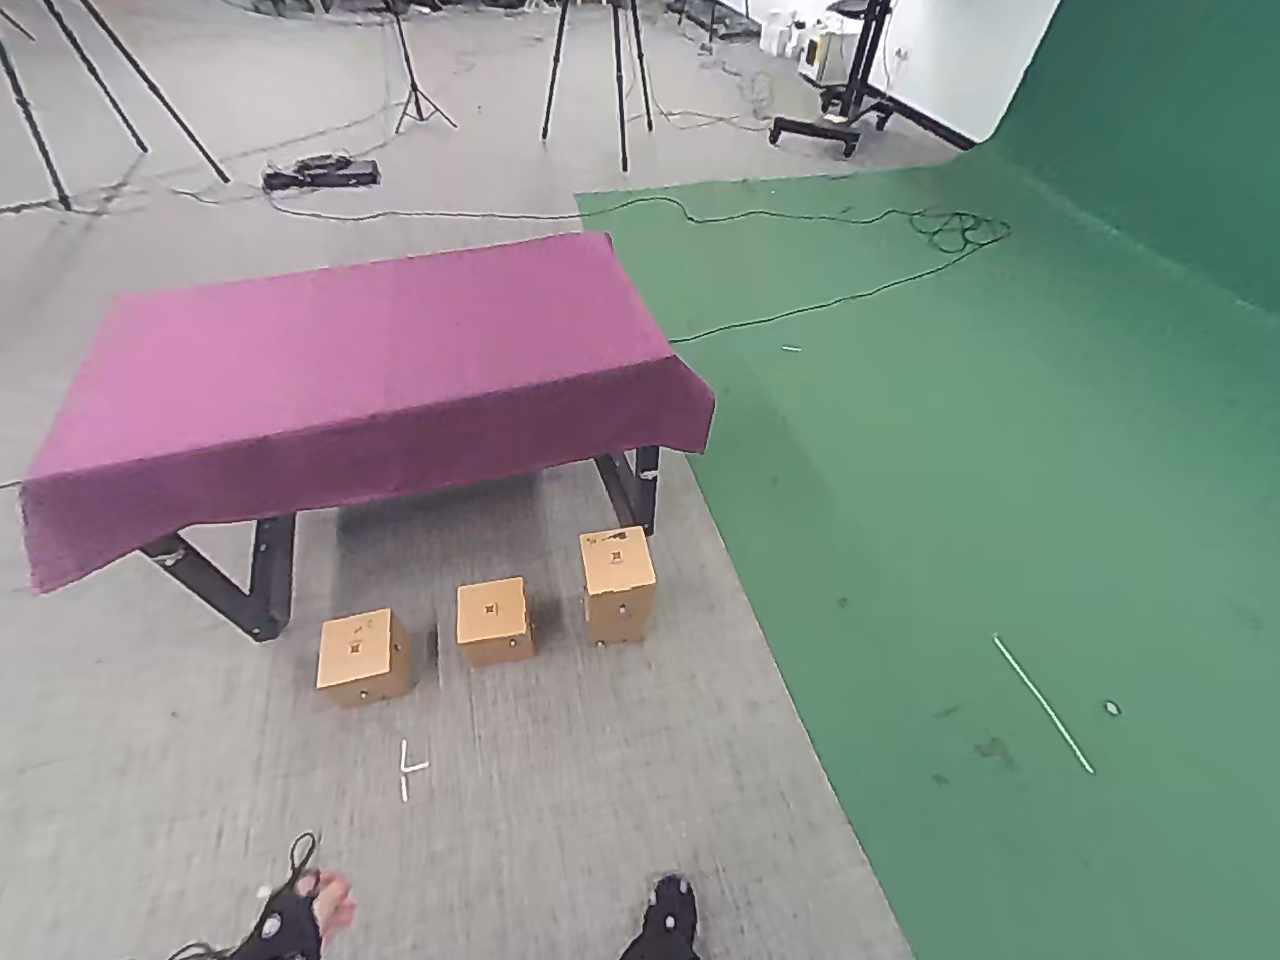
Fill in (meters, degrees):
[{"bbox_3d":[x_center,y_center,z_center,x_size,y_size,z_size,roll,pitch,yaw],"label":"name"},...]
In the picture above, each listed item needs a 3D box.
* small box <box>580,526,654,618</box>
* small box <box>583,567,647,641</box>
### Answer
[{"bbox_3d":[-0.060,0.244,1.400,0.168,0.176,0.179,-7,52,-8],"label":"small box"},{"bbox_3d":[-0.071,0.344,1.530,0.168,0.176,0.179,-4,50,-6],"label":"small box"}]
